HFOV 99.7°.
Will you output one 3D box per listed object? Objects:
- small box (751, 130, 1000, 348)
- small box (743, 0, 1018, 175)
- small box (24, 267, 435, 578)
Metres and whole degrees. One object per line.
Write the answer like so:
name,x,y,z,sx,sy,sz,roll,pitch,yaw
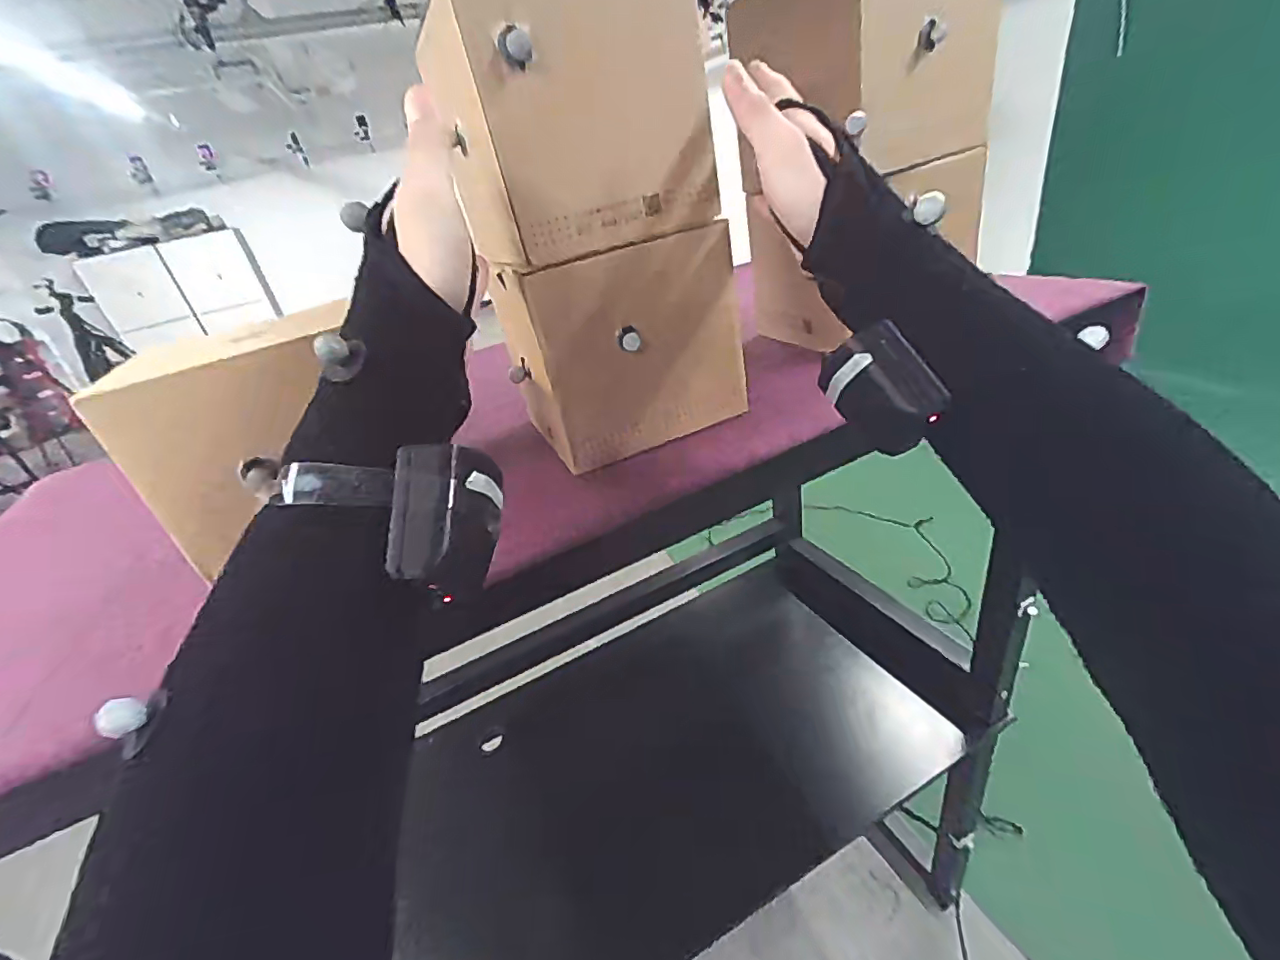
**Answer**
small box,0.241,-0.254,0.582,0.179,0.176,0.168,-19,31,-13
small box,0.212,-0.391,0.497,0.179,0.176,0.168,-24,33,-17
small box,-0.275,-0.049,0.411,0.168,0.176,0.179,-24,32,-21
